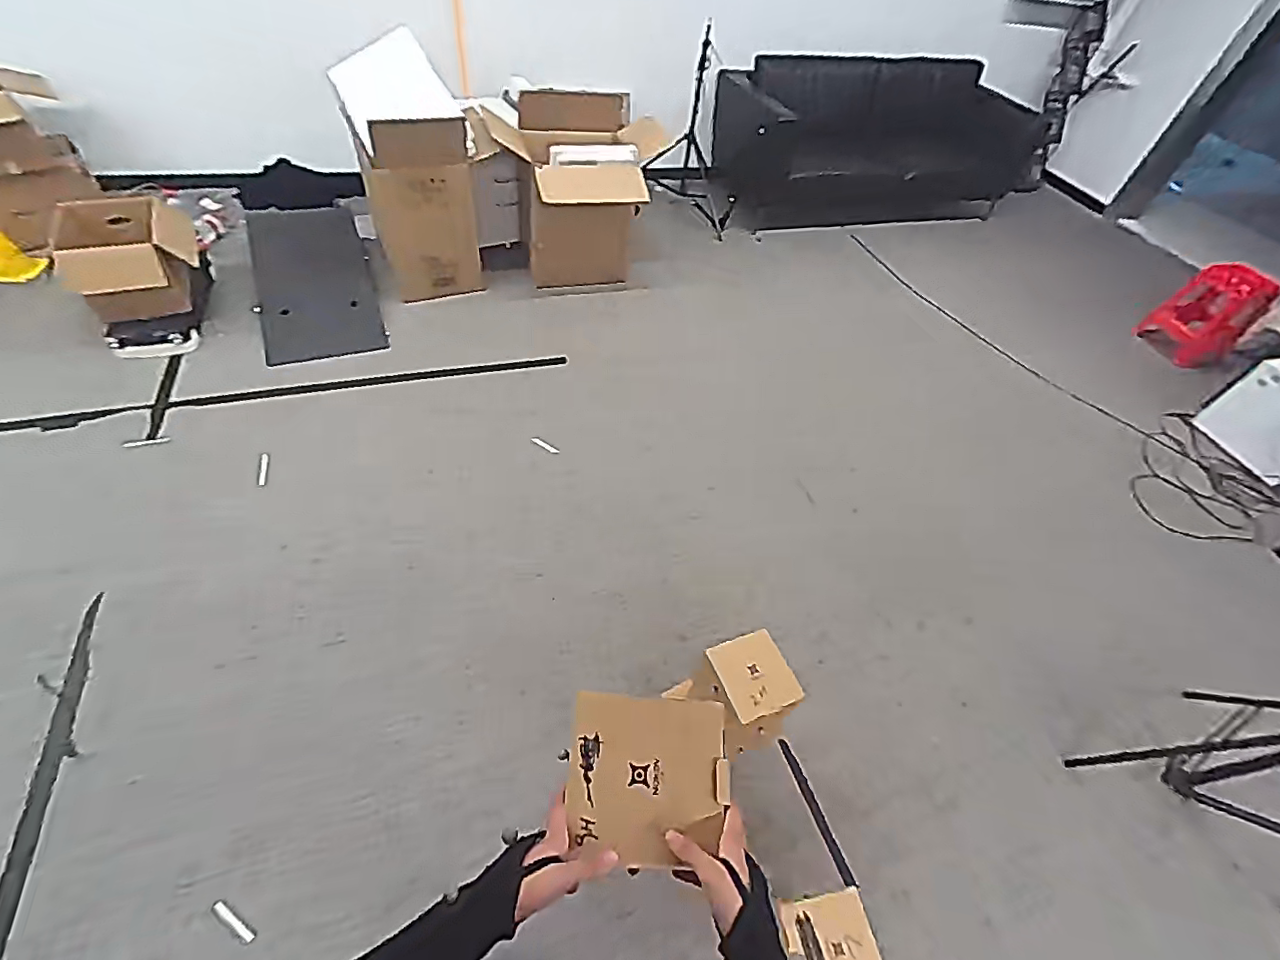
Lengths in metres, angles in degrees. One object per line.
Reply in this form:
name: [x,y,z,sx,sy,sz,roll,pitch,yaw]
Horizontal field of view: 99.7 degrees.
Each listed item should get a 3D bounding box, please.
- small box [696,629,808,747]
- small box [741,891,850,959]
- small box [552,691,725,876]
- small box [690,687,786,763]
small box: [0.246,0.477,1.239,0.168,0.176,0.179,-13,52,-19]
small box: [0.345,1.051,1.200,0.168,0.176,0.179,-10,53,-16]
small box: [-0.004,0.357,0.645,0.179,0.176,0.168,5,59,-3]
small box: [0.231,0.595,1.353,0.179,0.176,0.168,-7,50,-15]
